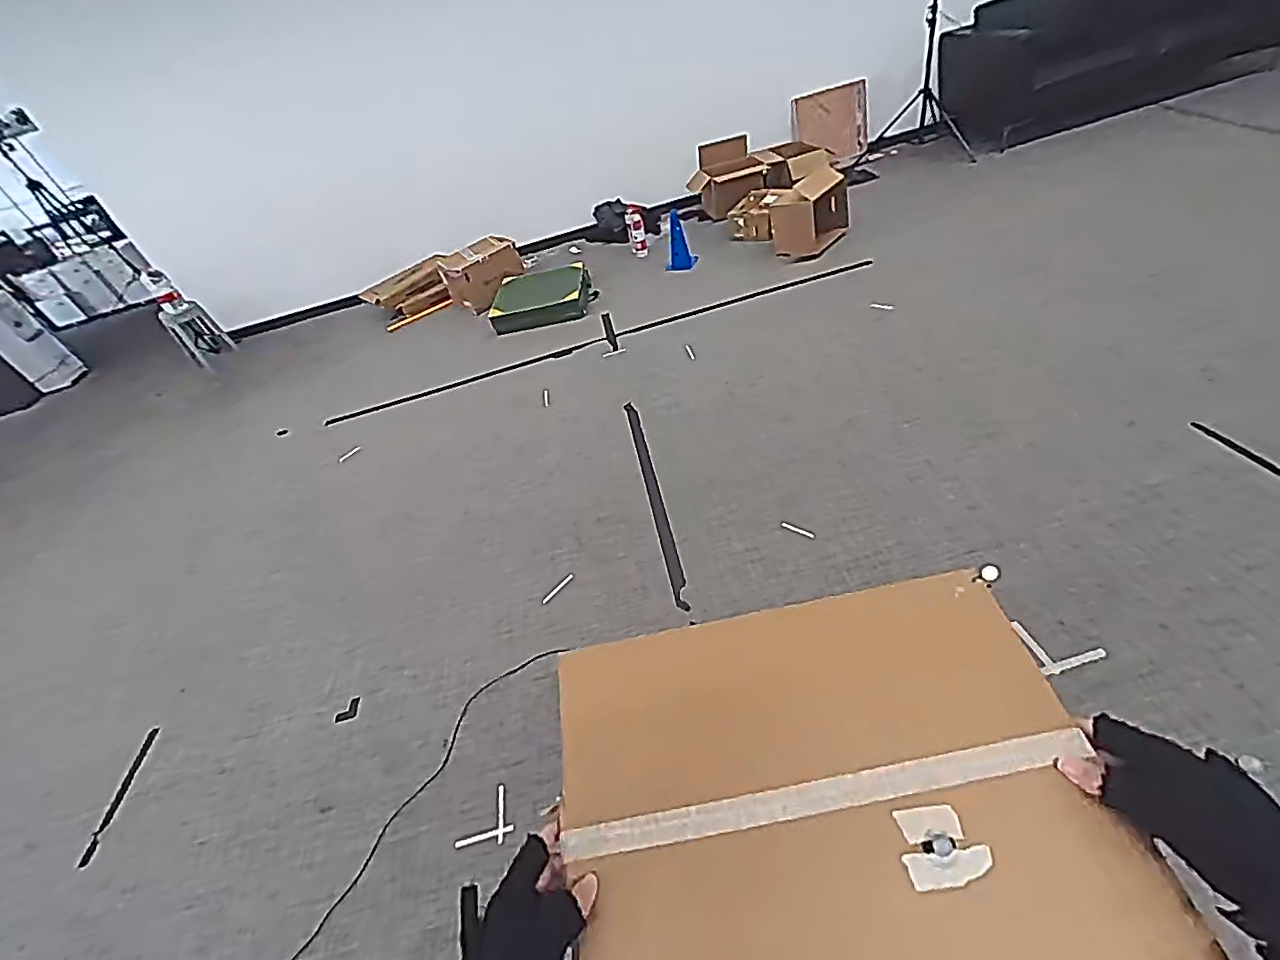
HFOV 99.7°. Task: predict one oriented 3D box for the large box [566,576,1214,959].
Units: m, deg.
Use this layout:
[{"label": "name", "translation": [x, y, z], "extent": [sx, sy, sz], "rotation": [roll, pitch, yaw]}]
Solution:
[{"label": "large box", "translation": [0.166, 0.344, 0.537], "extent": [0.408, 0.320, 0.320], "rotation": [-12, 50, 1]}]
